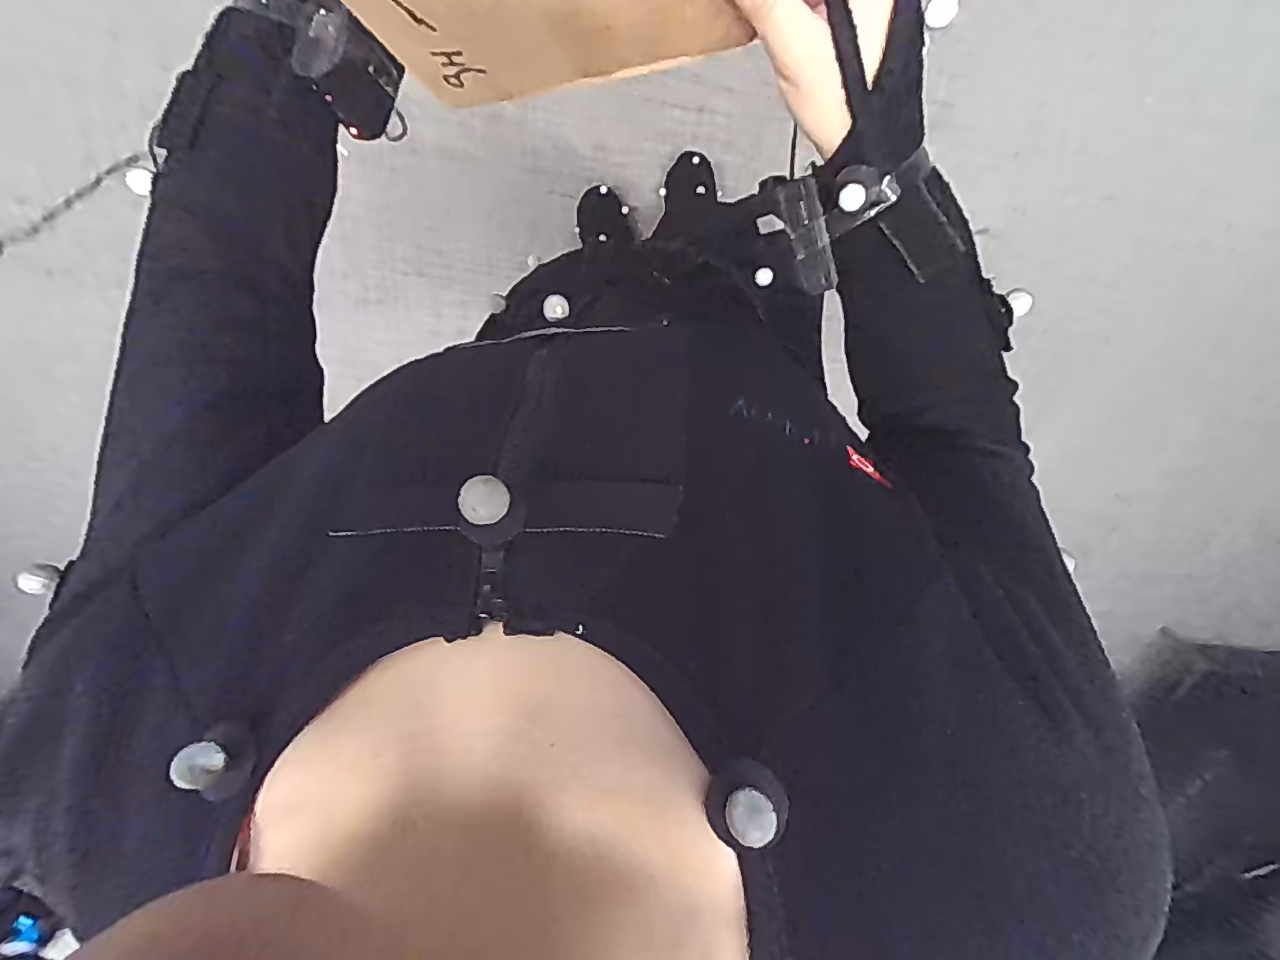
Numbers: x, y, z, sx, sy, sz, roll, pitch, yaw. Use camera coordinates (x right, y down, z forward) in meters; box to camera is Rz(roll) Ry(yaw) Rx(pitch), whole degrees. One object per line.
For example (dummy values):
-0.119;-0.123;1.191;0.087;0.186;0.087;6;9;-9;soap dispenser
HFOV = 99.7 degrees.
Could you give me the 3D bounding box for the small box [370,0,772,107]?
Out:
-0.042;-0.298;0.212;0.179;0.168;0.176;0;89;16;small box
